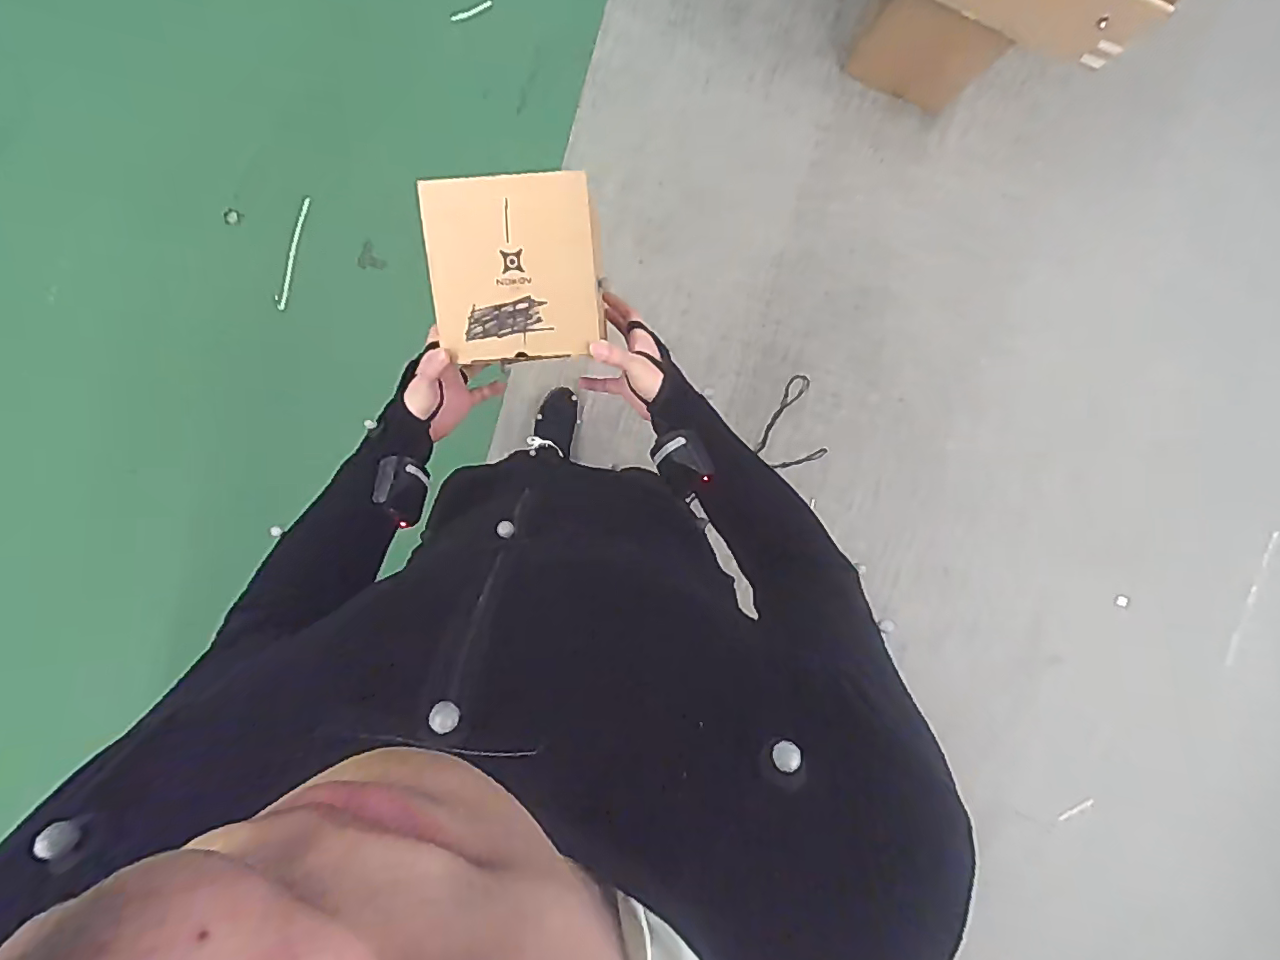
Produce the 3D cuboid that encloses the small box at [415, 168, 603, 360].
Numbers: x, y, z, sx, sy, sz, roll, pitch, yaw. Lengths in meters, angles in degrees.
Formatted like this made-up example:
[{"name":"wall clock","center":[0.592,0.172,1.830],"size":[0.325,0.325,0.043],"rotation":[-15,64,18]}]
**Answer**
[{"name":"small box","center":[-0.132,-0.230,0.615],"size":[0.168,0.176,0.179],"rotation":[-3,103,0]}]
